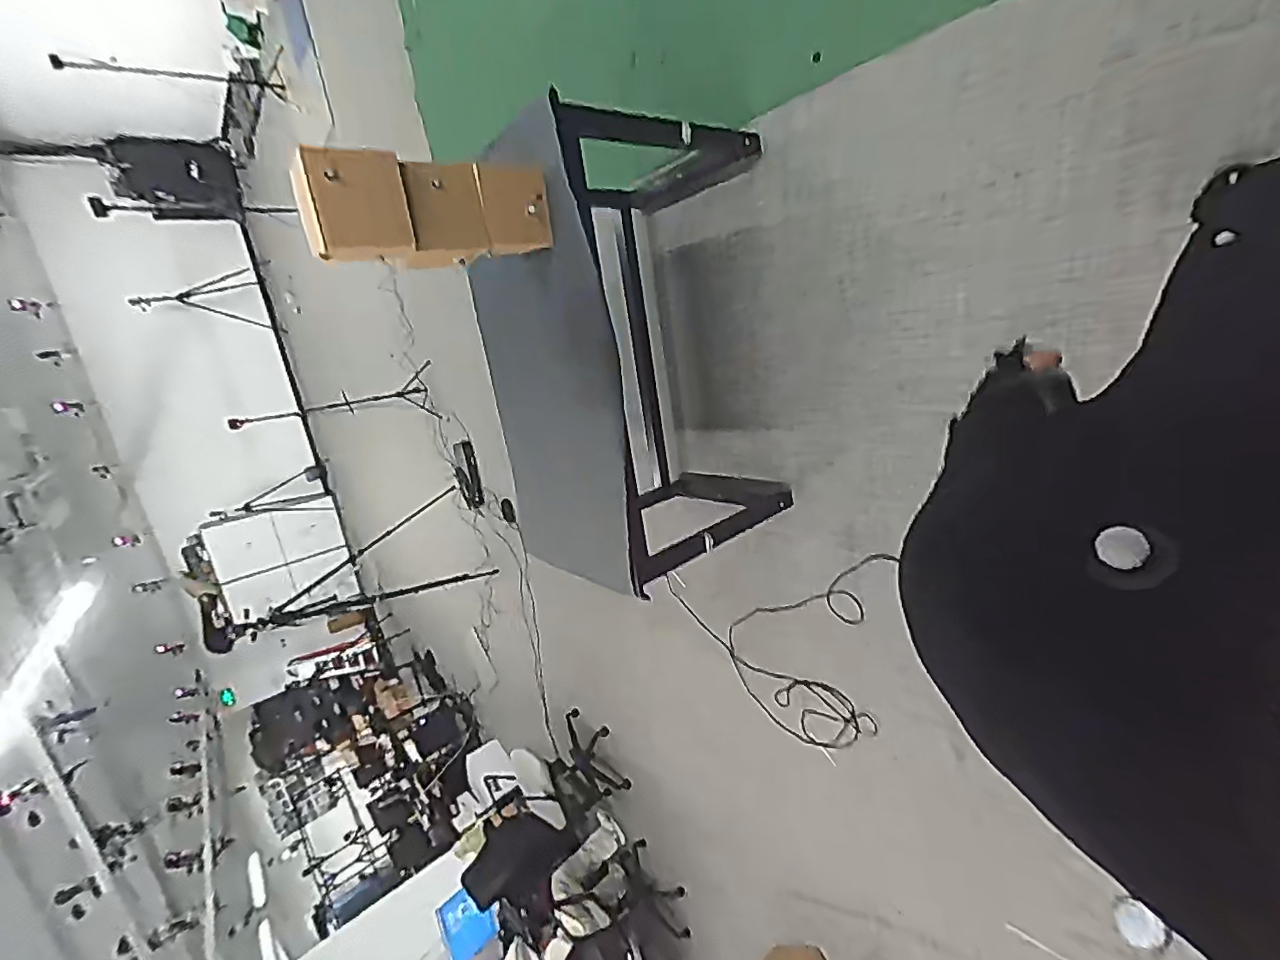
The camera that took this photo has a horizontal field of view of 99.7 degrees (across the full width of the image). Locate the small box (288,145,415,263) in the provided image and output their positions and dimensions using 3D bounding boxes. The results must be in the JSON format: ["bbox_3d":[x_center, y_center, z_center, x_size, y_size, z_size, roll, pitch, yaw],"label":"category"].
[{"bbox_3d":[-0.569,-0.537,1.073,0.168,0.176,0.179,15,119,52],"label":"small box"}]

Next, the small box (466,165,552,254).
[{"bbox_3d":[-0.328,-0.629,1.275,0.179,0.176,0.168,17,120,48],"label":"small box"}]

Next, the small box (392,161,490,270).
[{"bbox_3d":[-0.452,-0.573,1.186,0.168,0.176,0.179,8,114,54],"label":"small box"}]
